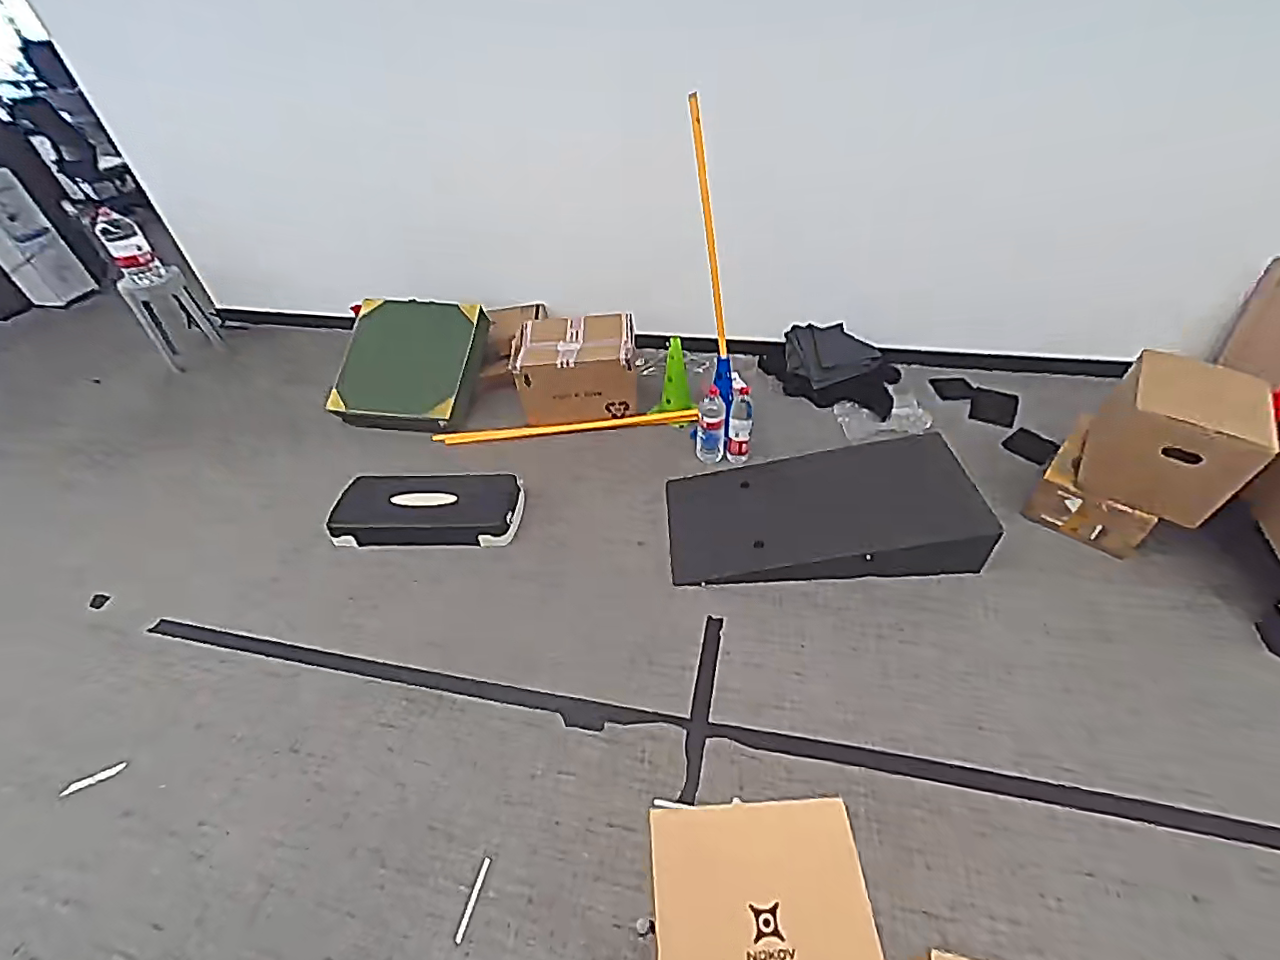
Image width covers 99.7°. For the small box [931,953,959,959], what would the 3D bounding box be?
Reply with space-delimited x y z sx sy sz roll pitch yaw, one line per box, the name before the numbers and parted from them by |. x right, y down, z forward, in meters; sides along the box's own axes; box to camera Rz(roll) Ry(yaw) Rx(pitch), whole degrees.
small box | 0.512 0.850 0.811 0.179 0.176 0.168 8 43 12

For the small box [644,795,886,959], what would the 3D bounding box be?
small box | 0.090 0.379 0.449 0.168 0.176 0.179 -2 52 -2
